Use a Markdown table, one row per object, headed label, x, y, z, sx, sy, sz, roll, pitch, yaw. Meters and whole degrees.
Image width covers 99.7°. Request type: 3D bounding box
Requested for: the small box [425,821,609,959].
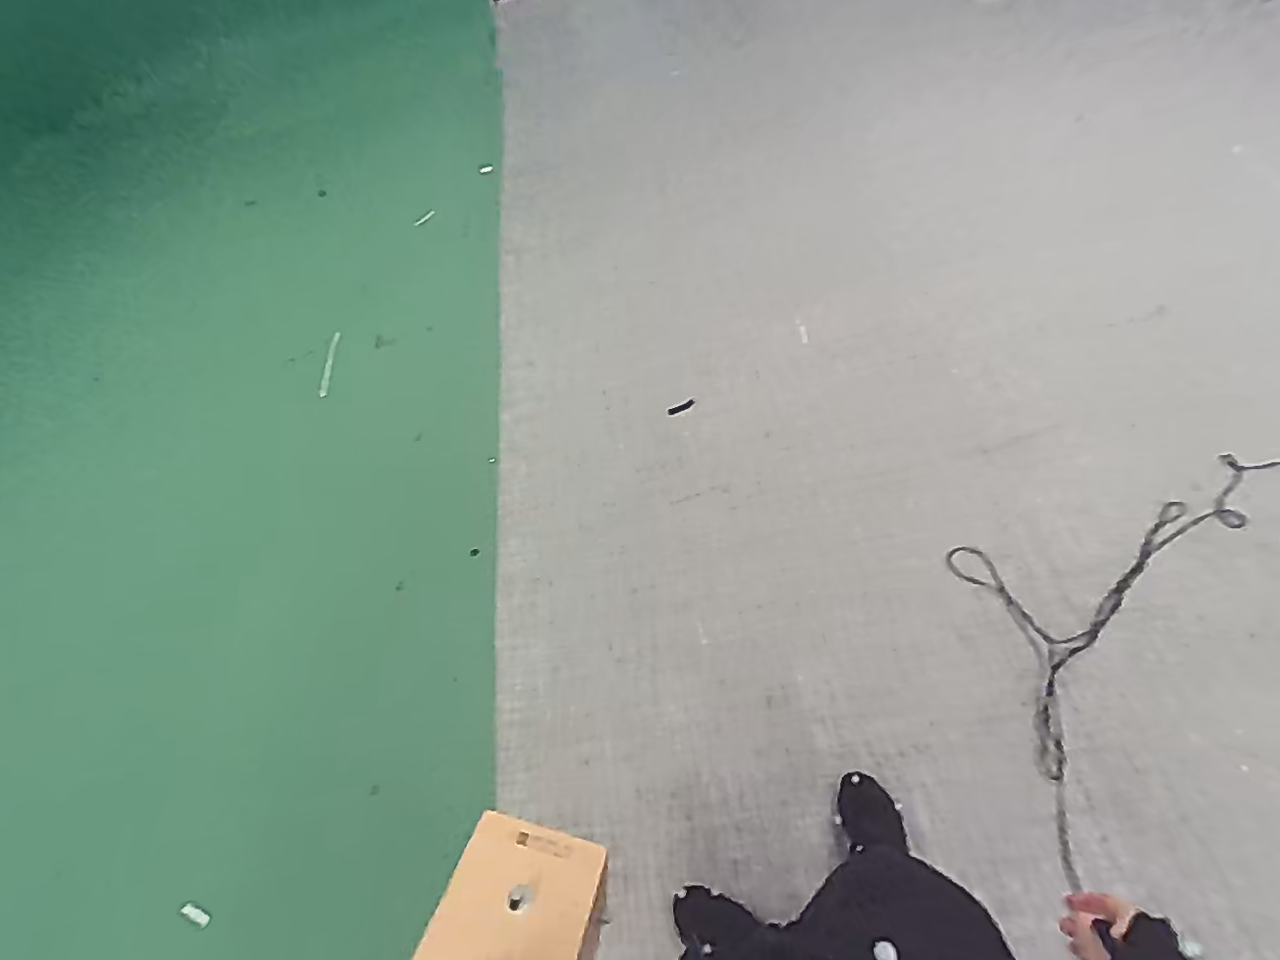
| label | x | y | z | sx | sy | sz | roll | pitch | yaw |
| --- | --- | --- | --- | --- | --- | --- | --- | --- | --- |
| small box | -0.139 | 0.546 | 0.642 | 0.168 | 0.179 | 0.176 | 10 | 31 | 10 |
